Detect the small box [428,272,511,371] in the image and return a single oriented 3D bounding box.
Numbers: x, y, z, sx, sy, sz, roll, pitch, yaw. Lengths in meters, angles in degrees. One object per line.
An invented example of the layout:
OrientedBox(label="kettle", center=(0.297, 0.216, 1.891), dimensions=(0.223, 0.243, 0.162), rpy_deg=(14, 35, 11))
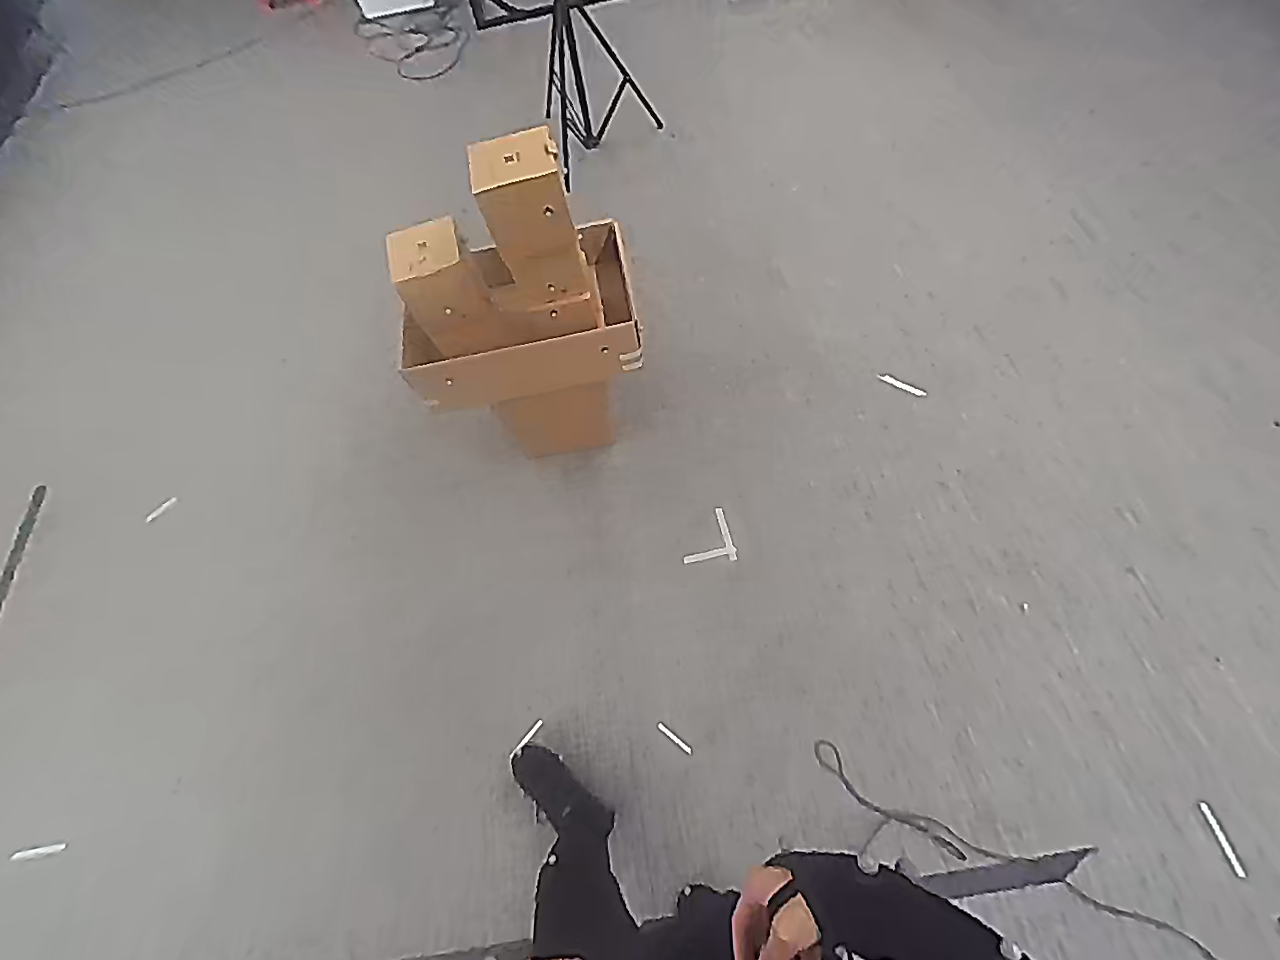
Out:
OrientedBox(label="small box", center=(-0.468, -0.429, 1.472), dimensions=(0.168, 0.176, 0.179), rpy_deg=(-19, 63, -1))

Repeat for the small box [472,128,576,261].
OrientedBox(label="small box", center=(-0.241, -0.603, 1.155), dimensions=(0.179, 0.176, 0.168), rpy_deg=(-14, 62, 1))

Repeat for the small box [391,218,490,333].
OrientedBox(label="small box", center=(-0.484, -0.494, 1.322), dimensions=(0.168, 0.176, 0.179), rpy_deg=(-18, 63, -1))
